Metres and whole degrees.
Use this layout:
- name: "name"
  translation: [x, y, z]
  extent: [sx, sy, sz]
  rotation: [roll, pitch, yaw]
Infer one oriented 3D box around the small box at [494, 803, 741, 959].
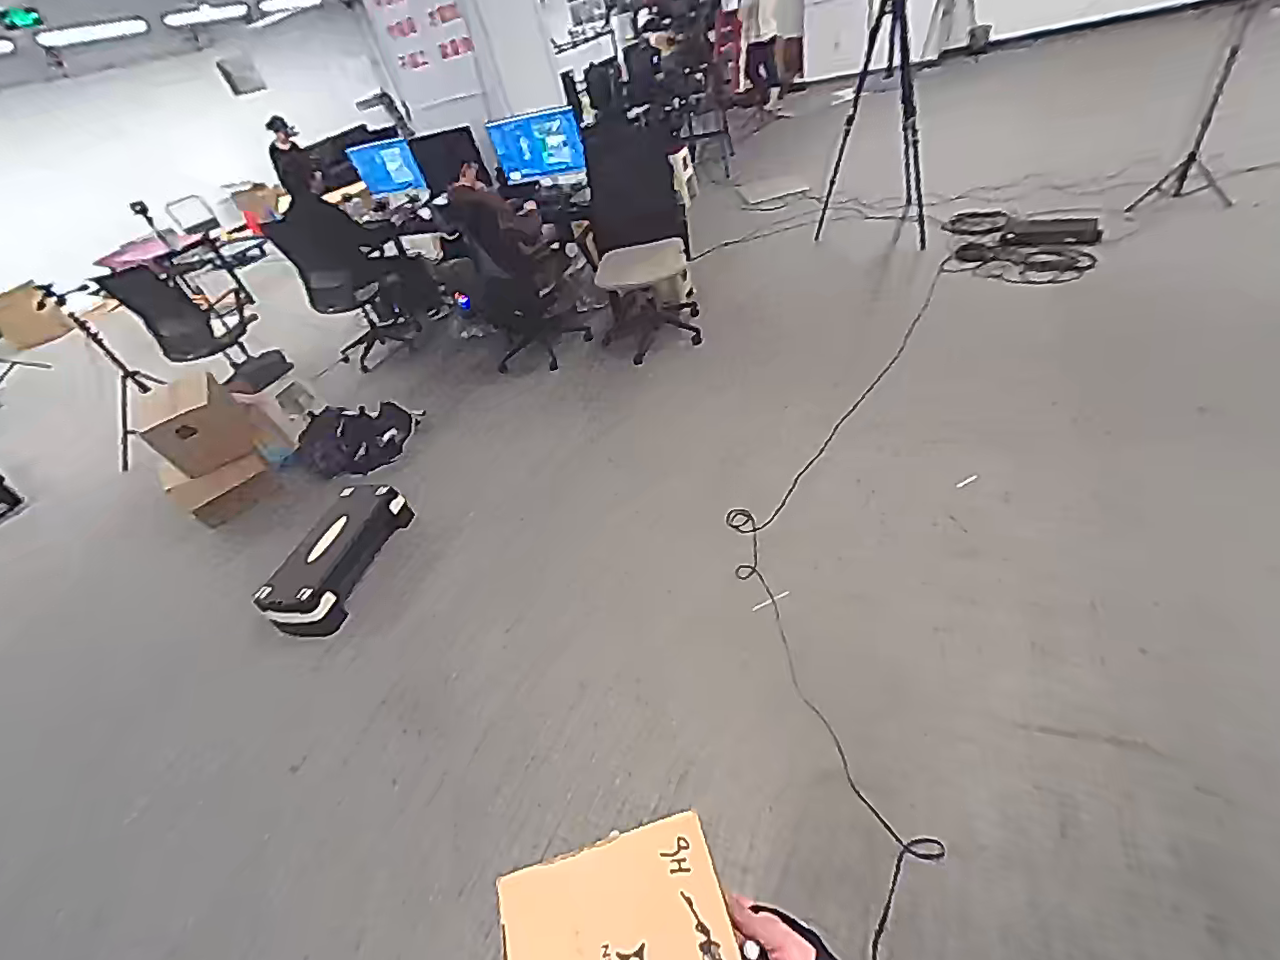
- name: "small box"
  translation: [-0.009, 0.404, 0.470]
  extent: [0.179, 0.176, 0.168]
  rotation: [-16, 54, -3]
